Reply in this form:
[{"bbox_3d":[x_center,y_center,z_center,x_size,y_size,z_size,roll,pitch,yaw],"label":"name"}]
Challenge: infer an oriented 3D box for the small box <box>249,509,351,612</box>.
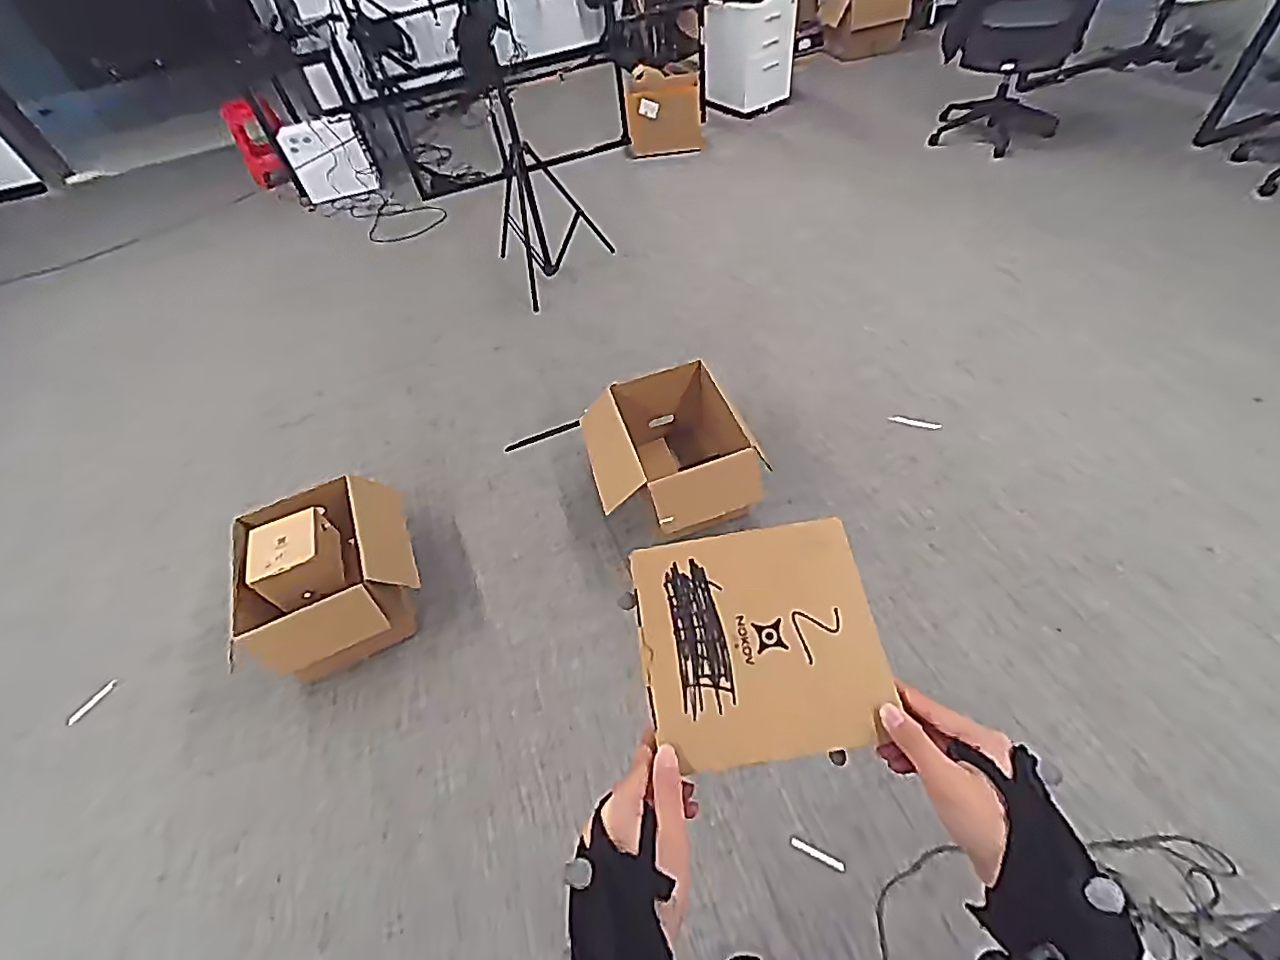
[{"bbox_3d":[-0.884,0.212,1.420,0.168,0.176,0.179,-22,52,-9],"label":"small box"}]
